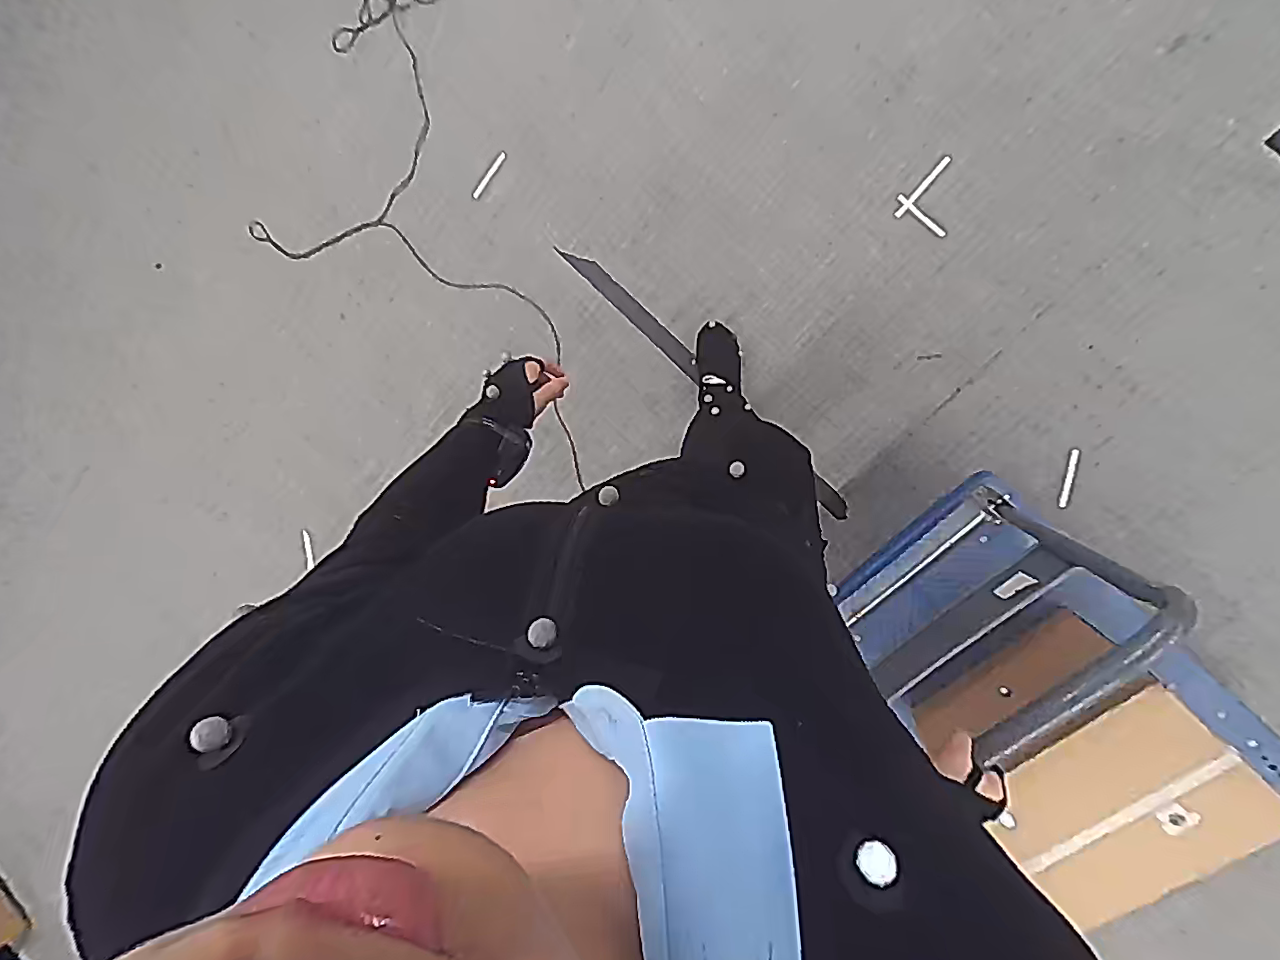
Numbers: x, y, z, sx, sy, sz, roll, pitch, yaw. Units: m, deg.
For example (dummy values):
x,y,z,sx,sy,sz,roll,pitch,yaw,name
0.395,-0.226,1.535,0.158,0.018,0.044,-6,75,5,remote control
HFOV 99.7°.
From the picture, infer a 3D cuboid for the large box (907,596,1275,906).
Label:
x,y,z,sx,sy,sz,roll,pitch,yaw,name
0.833,0.513,1.083,0.320,0.320,0.408,45,106,2,large box
